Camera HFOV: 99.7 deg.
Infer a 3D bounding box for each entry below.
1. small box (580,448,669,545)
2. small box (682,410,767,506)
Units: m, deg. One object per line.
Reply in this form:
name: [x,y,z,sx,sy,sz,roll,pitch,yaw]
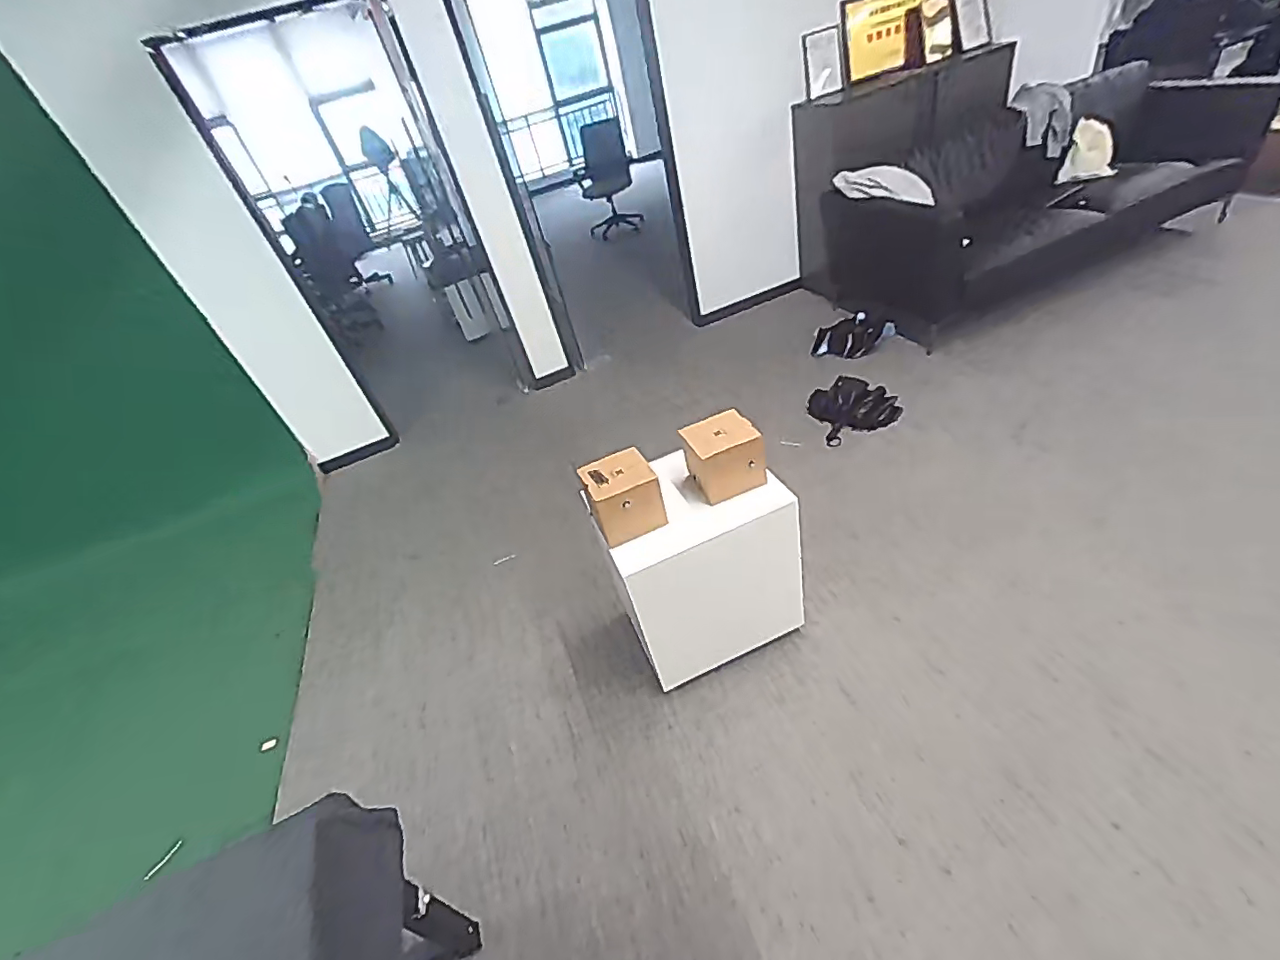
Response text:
small box: [-0.040,0.046,1.449,0.179,0.176,0.168,-22,38,-11]
small box: [0.236,-0.061,1.487,0.179,0.176,0.168,-23,37,-6]
